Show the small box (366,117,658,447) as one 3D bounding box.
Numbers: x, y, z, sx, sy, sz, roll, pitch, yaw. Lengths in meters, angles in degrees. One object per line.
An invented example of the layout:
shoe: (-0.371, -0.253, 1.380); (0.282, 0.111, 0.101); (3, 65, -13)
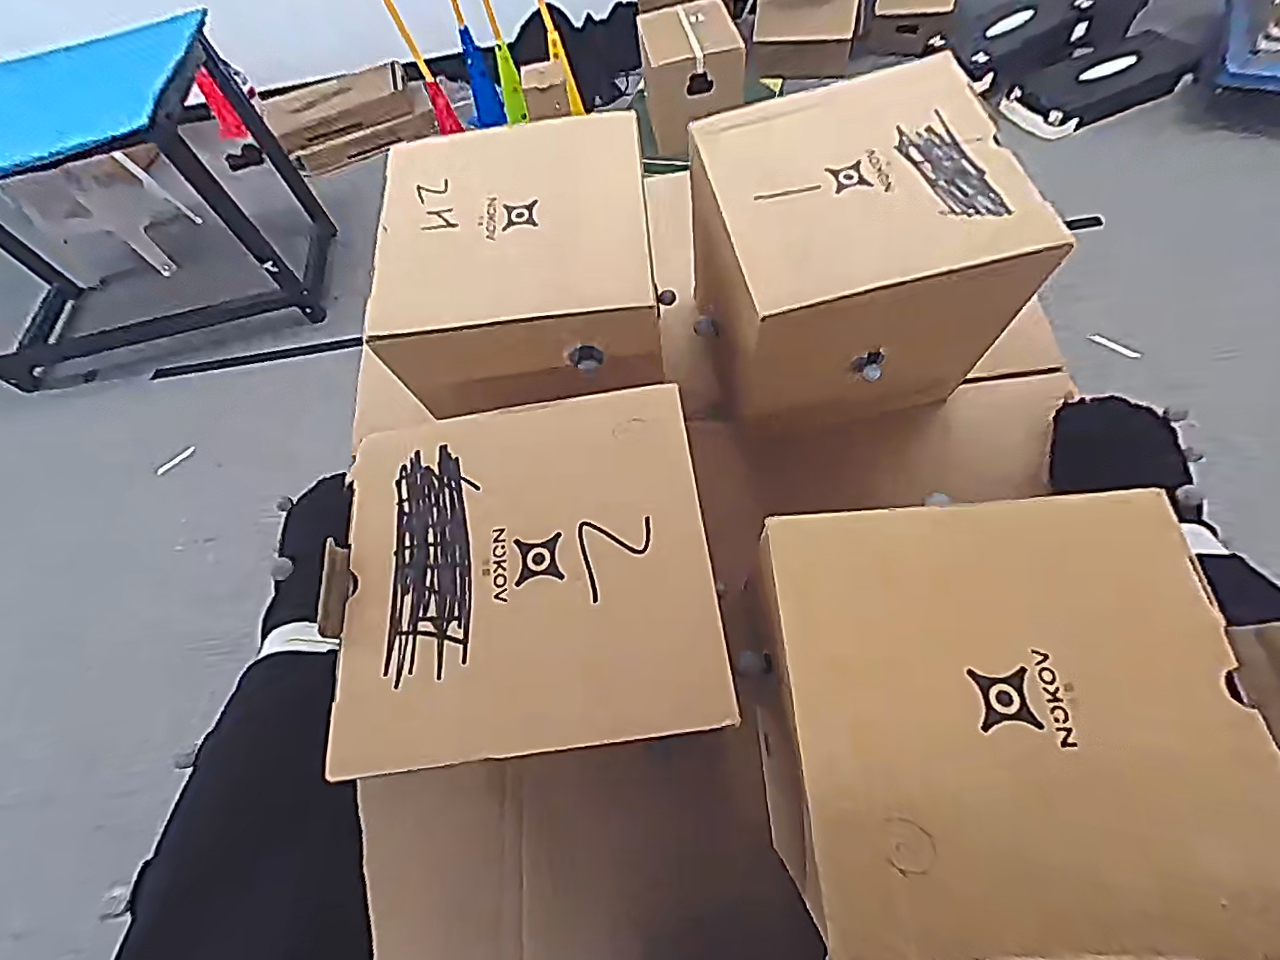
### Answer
small box: (-0.079, -0.139, 0.427); (0.179, 0.176, 0.168); (-6, 68, 5)
